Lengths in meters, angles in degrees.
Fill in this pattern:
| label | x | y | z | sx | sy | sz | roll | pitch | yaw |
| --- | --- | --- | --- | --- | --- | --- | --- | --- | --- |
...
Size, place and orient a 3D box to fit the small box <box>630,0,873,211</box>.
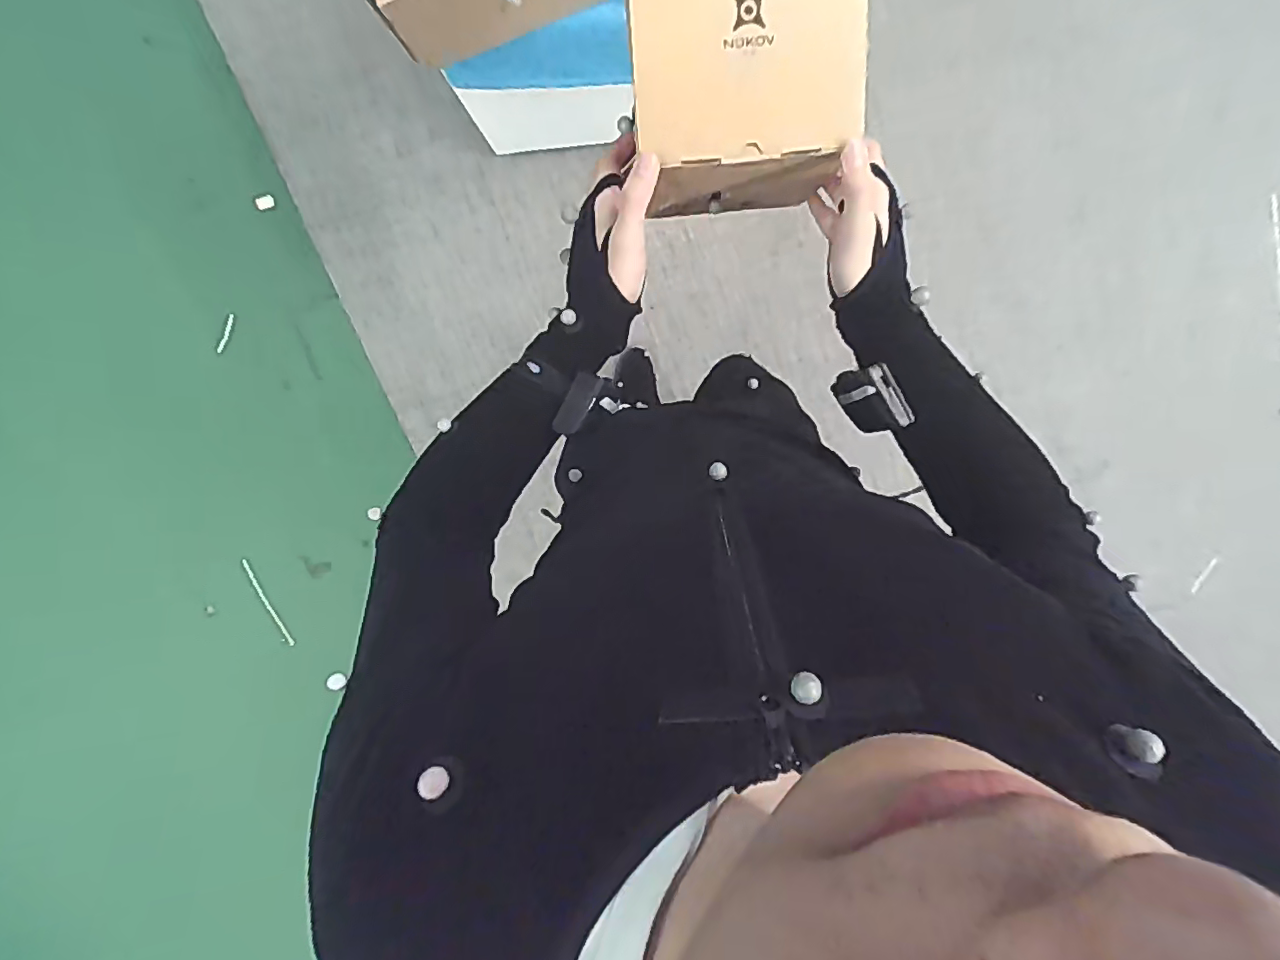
| label | x | y | z | sx | sy | sz | roll | pitch | yaw |
| --- | --- | --- | --- | --- | --- | --- | --- | --- | --- |
| small box | 0.078 | -0.341 | 0.448 | 0.168 | 0.176 | 0.179 | -4 | 105 | 2 |
